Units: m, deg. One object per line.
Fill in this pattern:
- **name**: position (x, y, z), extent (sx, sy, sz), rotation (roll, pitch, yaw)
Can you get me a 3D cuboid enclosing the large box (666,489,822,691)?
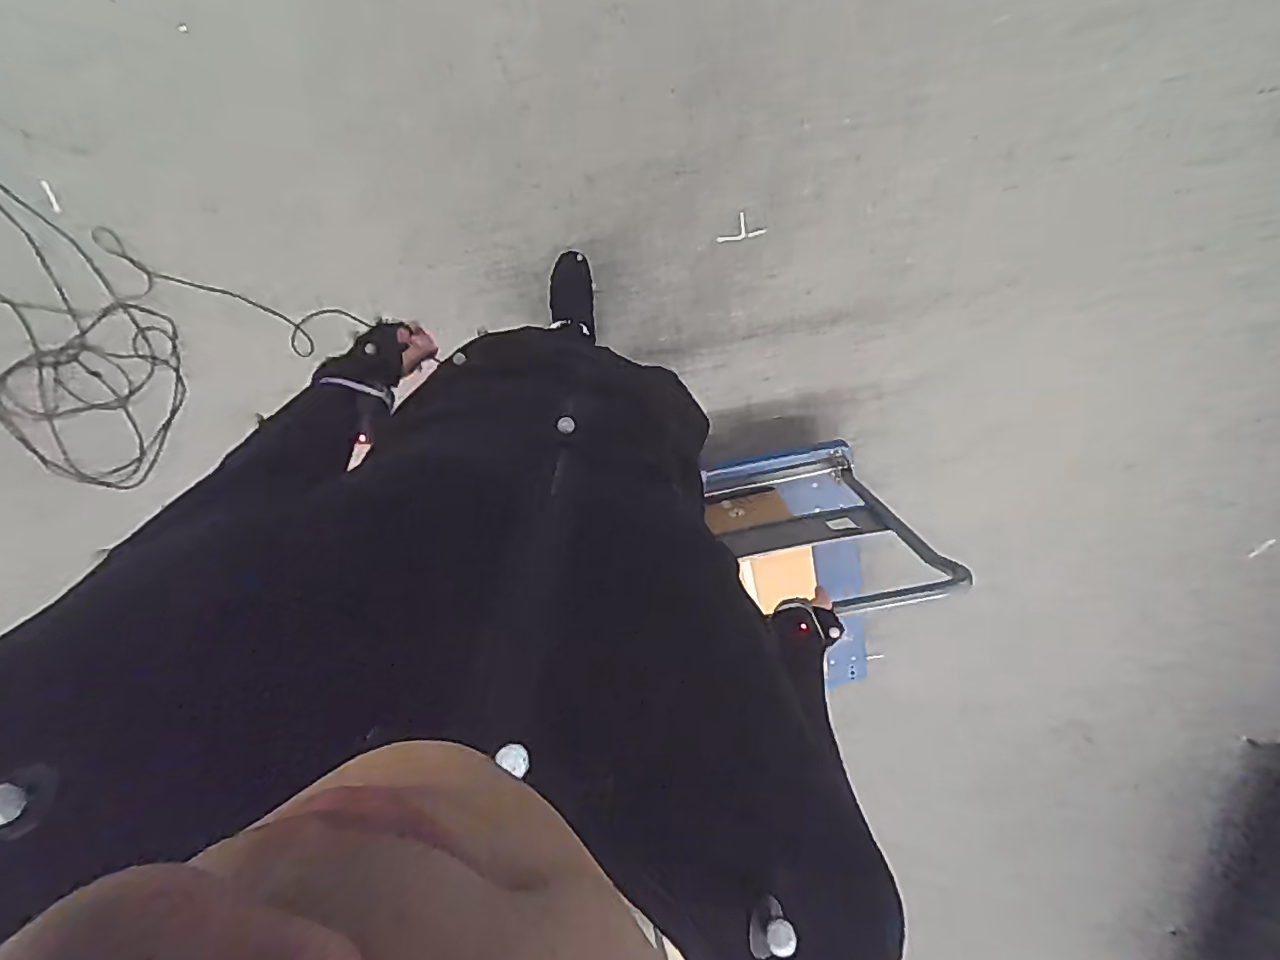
- **large box**: position (0.272, 0.290, 1.478), extent (0.320, 0.320, 0.408), rotation (-13, 114, 4)
